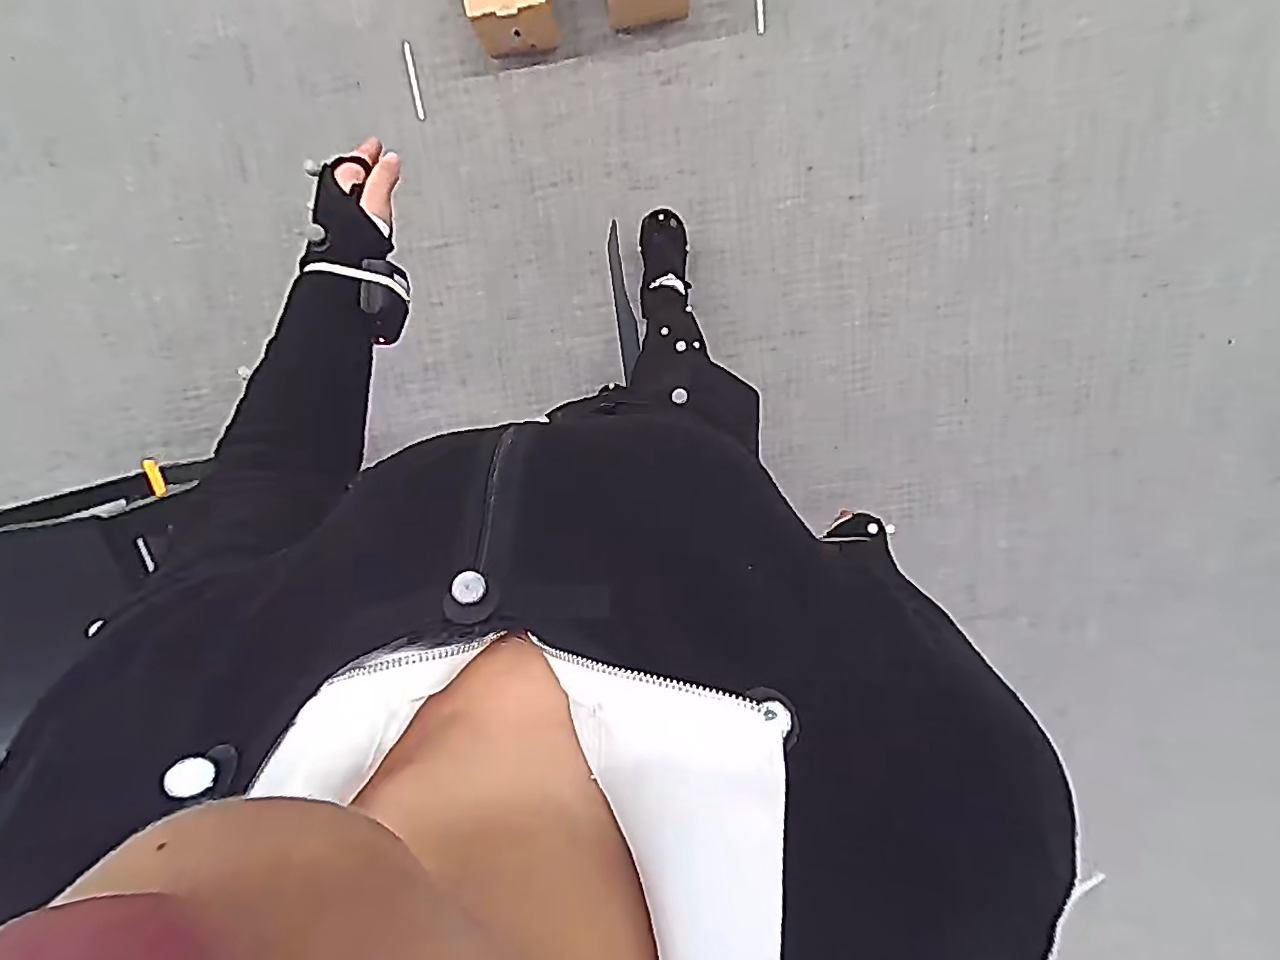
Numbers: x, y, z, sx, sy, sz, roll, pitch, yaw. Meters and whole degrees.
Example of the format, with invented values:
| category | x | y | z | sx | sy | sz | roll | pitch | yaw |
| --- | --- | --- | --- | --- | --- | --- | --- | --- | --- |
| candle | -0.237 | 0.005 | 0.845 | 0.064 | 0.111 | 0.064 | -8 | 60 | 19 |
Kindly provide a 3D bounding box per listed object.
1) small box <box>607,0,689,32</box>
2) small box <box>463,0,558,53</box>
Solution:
| category | x | y | z | sx | sy | sz | roll | pitch | yaw |
| --- | --- | --- | --- | --- | --- | --- | --- | --- | --- |
| small box | 0.011 | -1.074 | 1.116 | 0.179 | 0.176 | 0.168 | -9 | 105 | 3 |
| small box | -0.273 | -1.032 | 1.132 | 0.168 | 0.176 | 0.179 | -6 | 106 | 3 |
